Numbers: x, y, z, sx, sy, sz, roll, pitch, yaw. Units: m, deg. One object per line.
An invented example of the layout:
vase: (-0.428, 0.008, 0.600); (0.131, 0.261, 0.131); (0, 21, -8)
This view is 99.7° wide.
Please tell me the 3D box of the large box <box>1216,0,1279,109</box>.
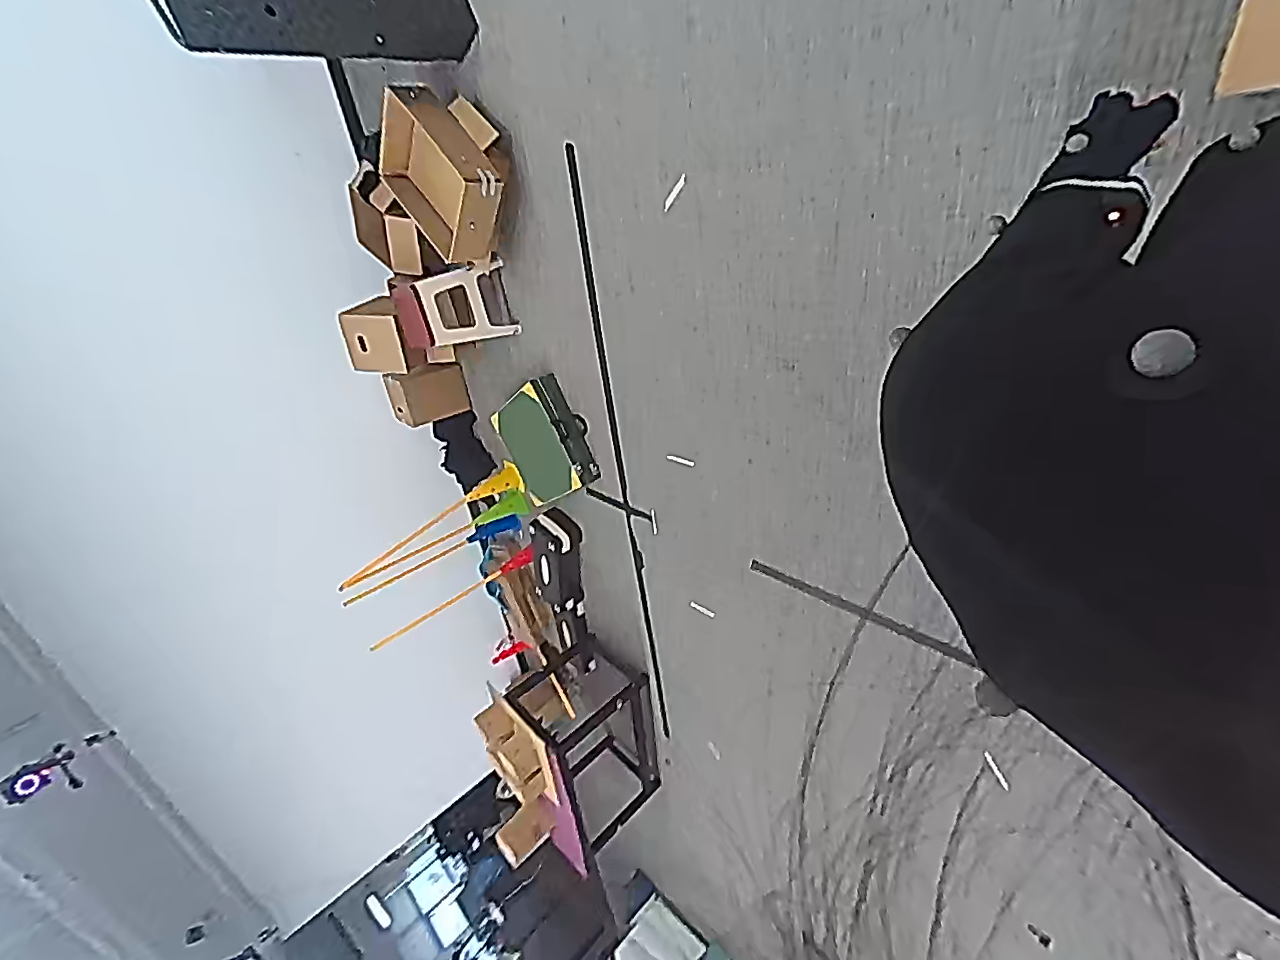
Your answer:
large box: (1.018, -0.663, 0.637); (0.408, 0.320, 0.320); (20, 128, 42)
